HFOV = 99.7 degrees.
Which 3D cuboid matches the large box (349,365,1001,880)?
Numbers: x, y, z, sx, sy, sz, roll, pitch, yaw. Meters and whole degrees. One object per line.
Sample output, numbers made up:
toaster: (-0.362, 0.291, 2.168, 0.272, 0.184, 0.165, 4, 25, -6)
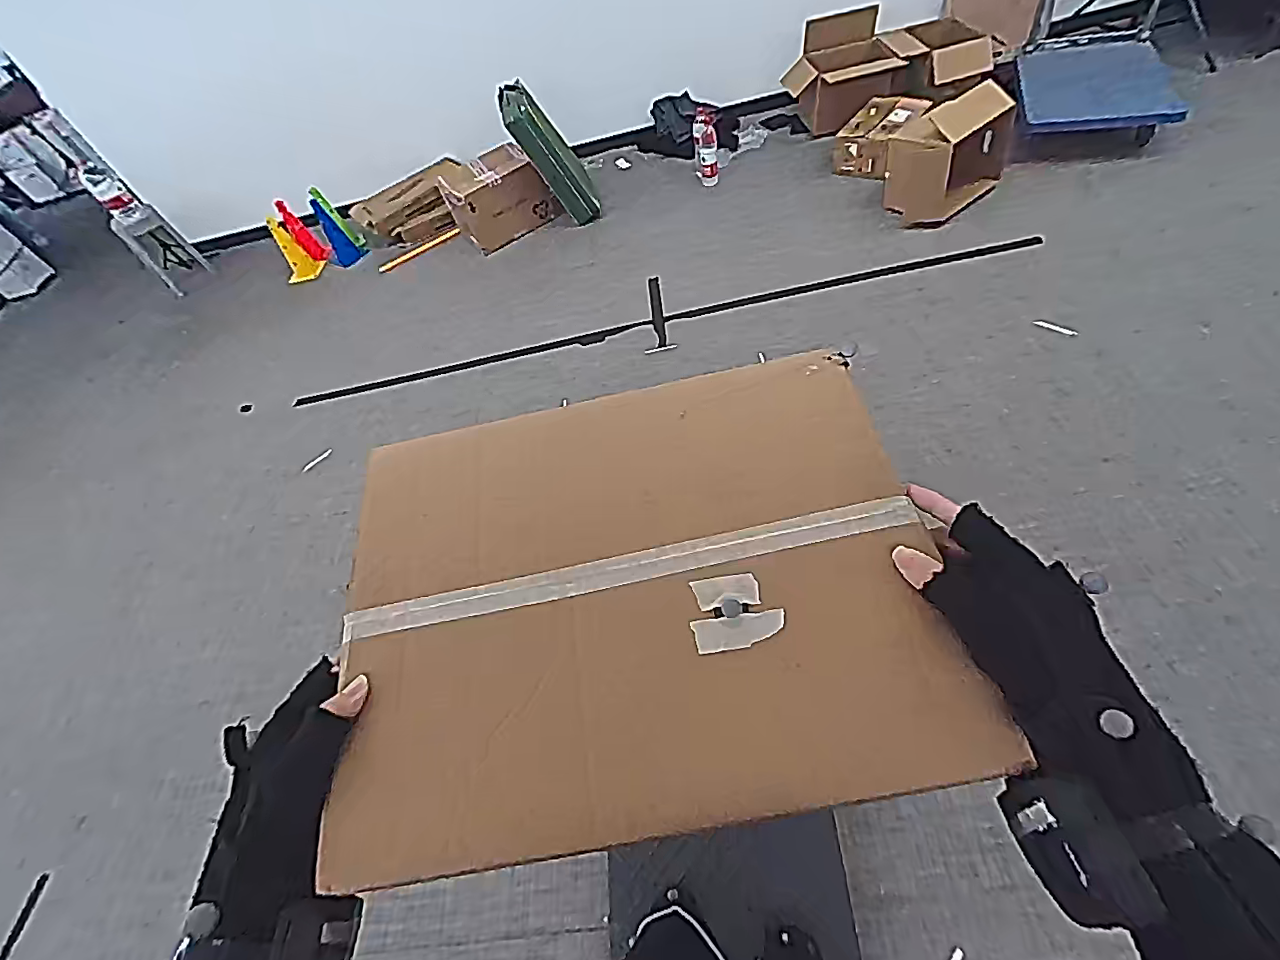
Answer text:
large box: (0.013, 0.145, 0.521, 0.408, 0.320, 0.320, -12, 59, 2)
